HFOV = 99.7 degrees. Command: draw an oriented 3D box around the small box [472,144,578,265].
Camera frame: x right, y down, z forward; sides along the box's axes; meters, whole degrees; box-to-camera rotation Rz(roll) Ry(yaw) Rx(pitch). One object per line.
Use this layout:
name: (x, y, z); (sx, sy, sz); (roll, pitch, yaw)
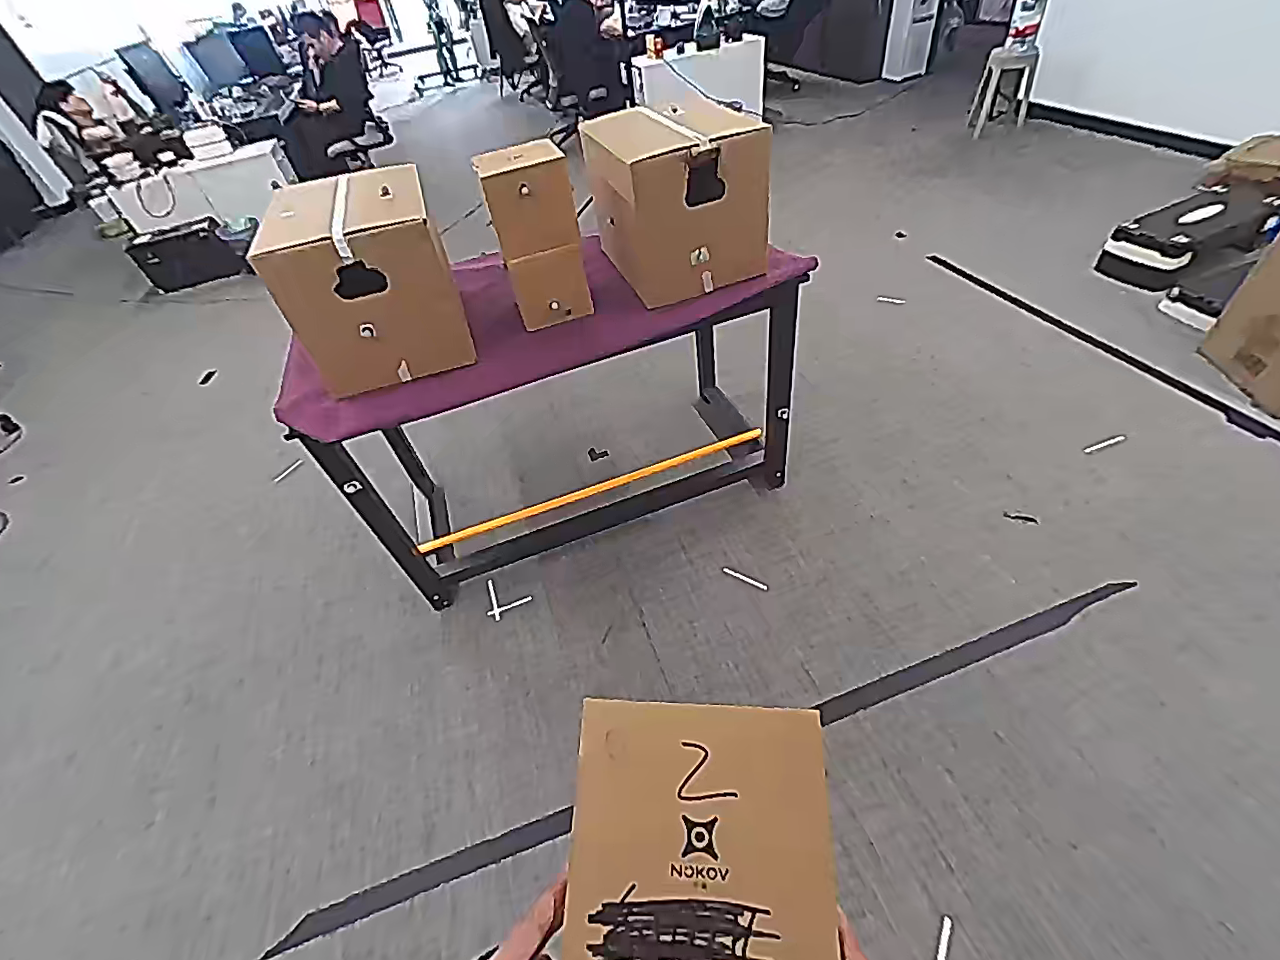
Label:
small box: (-0.241, -0.591, 1.164); (0.179, 0.176, 0.168); (-20, 46, -7)

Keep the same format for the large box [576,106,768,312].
large box: (0.075, -0.660, 1.305); (0.320, 0.320, 0.408); (-20, 45, -9)
